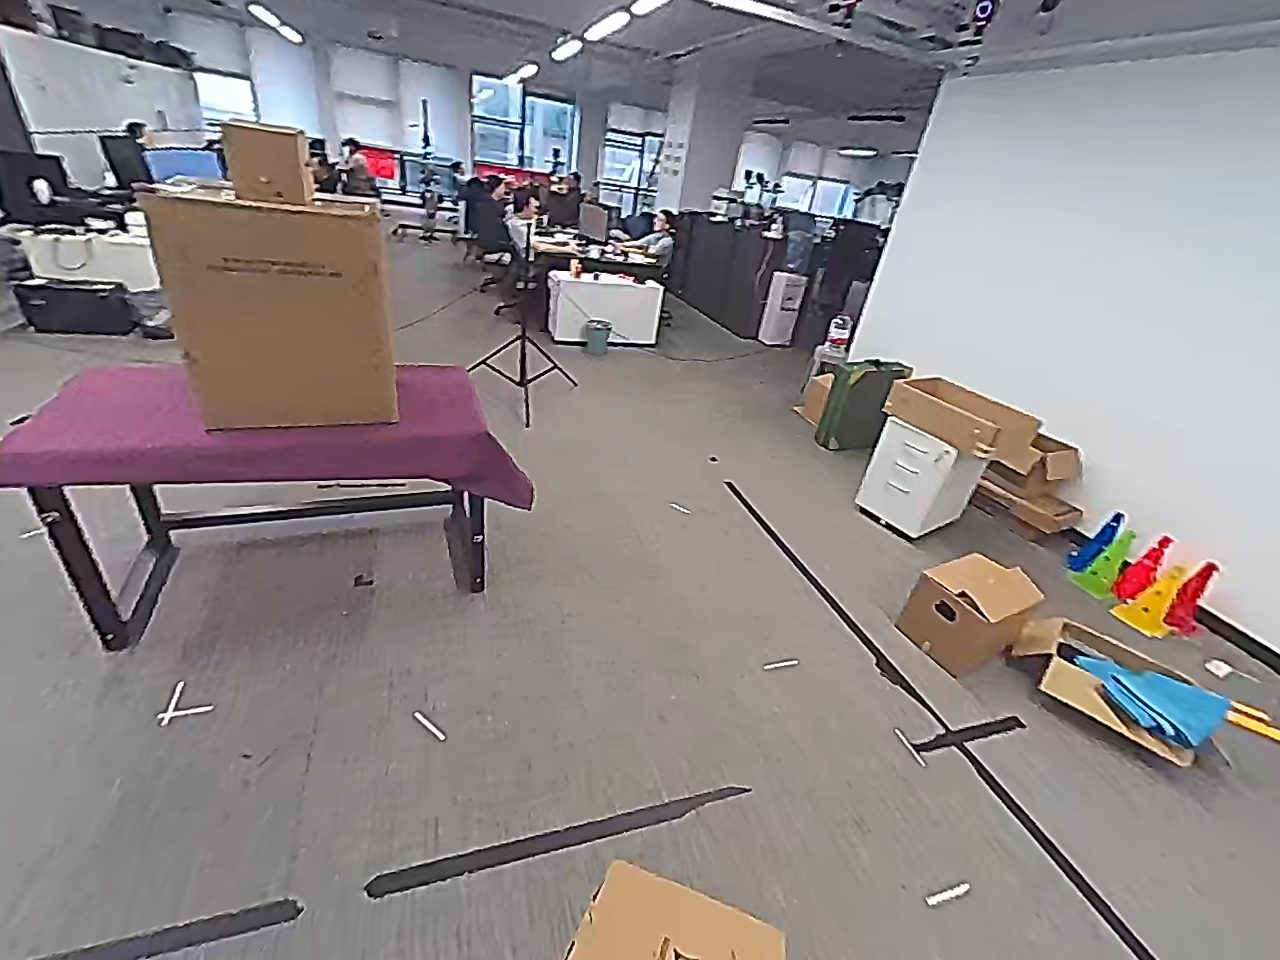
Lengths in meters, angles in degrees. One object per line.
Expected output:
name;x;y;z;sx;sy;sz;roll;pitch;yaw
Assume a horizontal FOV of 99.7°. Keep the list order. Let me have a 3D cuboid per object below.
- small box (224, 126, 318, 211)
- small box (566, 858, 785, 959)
small box;-0.978;-0.834;1.449;0.168;0.176;0.179;-4;35;-21
small box;0.016;0.476;0.449;0.179;0.176;0.168;14;3;14
